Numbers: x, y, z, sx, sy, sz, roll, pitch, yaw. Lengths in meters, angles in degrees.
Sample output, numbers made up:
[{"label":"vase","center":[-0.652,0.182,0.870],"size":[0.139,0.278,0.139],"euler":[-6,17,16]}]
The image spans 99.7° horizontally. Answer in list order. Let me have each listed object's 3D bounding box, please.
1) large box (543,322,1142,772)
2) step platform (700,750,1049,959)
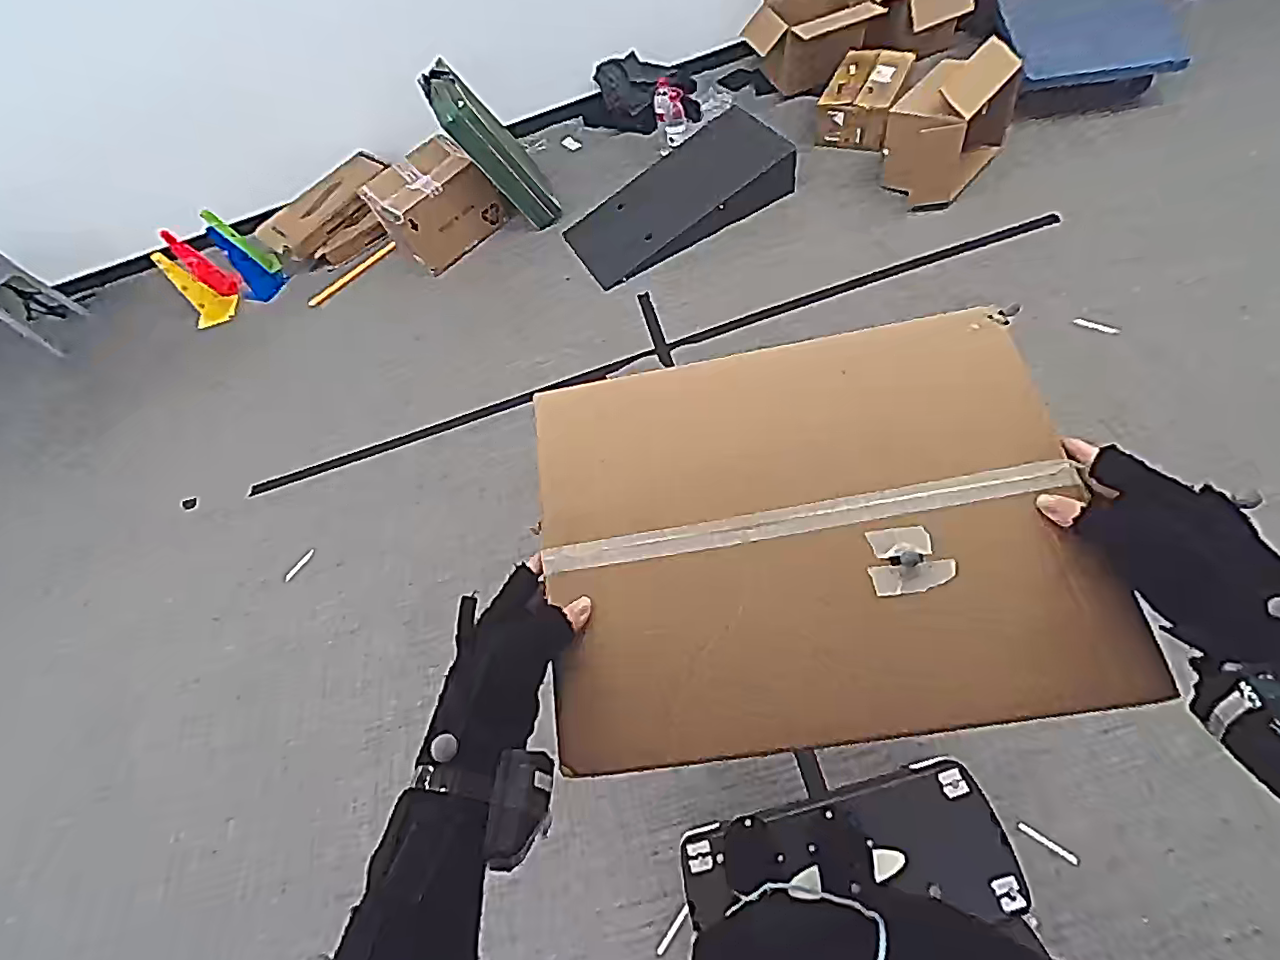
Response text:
[{"label":"large box","center":[0.144,0.090,0.570],"size":[0.408,0.320,0.320],"euler":[-10,69,5]},{"label":"step platform","center":[0.479,0.838,1.188],"size":[0.684,0.204,0.286],"euler":[-18,59,1]}]
